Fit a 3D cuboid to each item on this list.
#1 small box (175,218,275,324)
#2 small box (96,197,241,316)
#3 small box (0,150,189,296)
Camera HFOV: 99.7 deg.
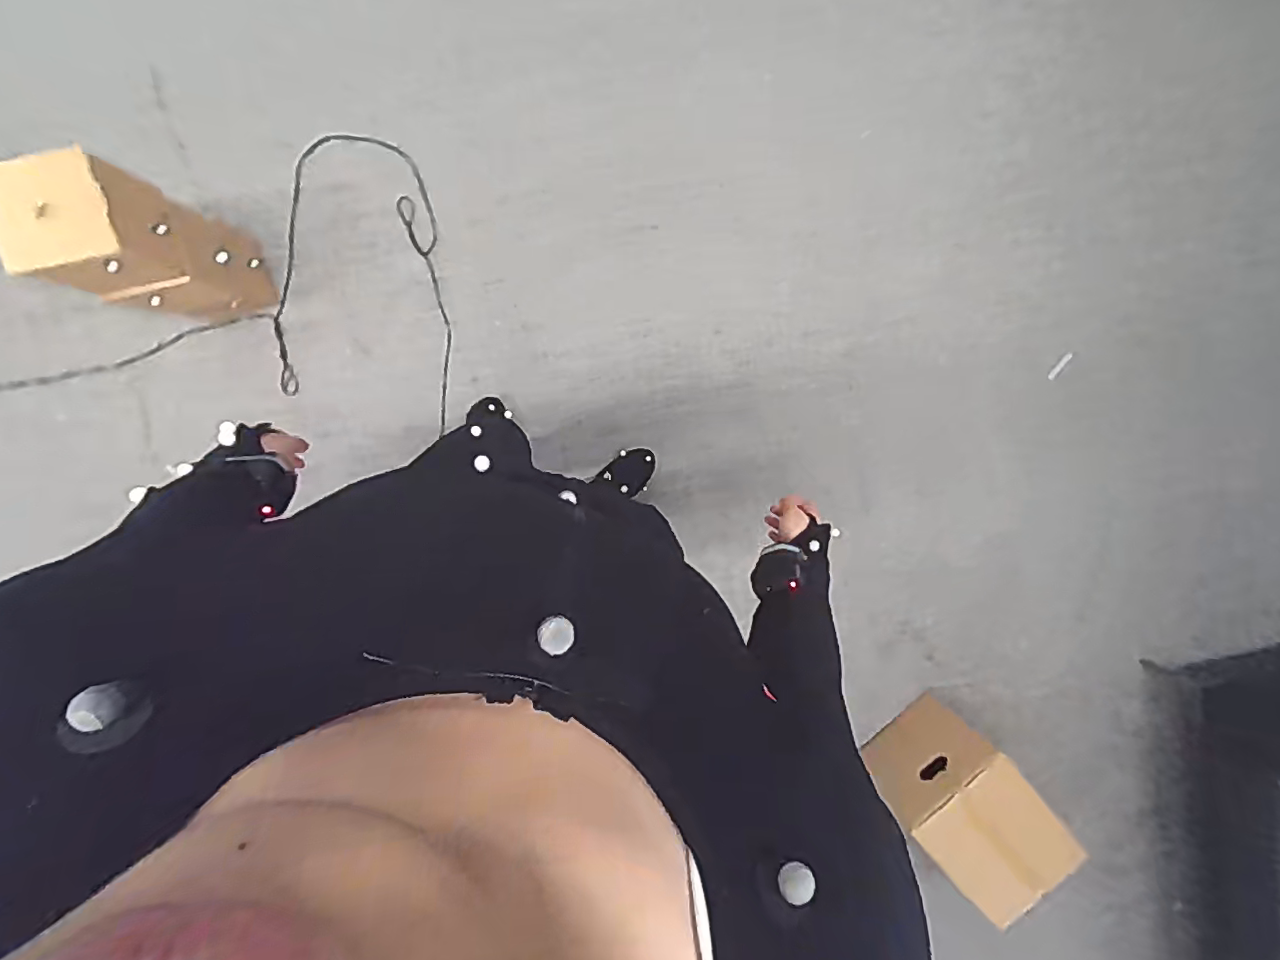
[{"bbox_3d":[-0.994,-0.478,1.259,0.179,0.176,0.168,-18,97,-3],"label":"small box"},{"bbox_3d":[-0.970,-0.444,1.099,0.179,0.176,0.168,-14,98,-5],"label":"small box"},{"bbox_3d":[-0.951,-0.433,0.938,0.179,0.176,0.168,-15,98,-5],"label":"small box"}]
